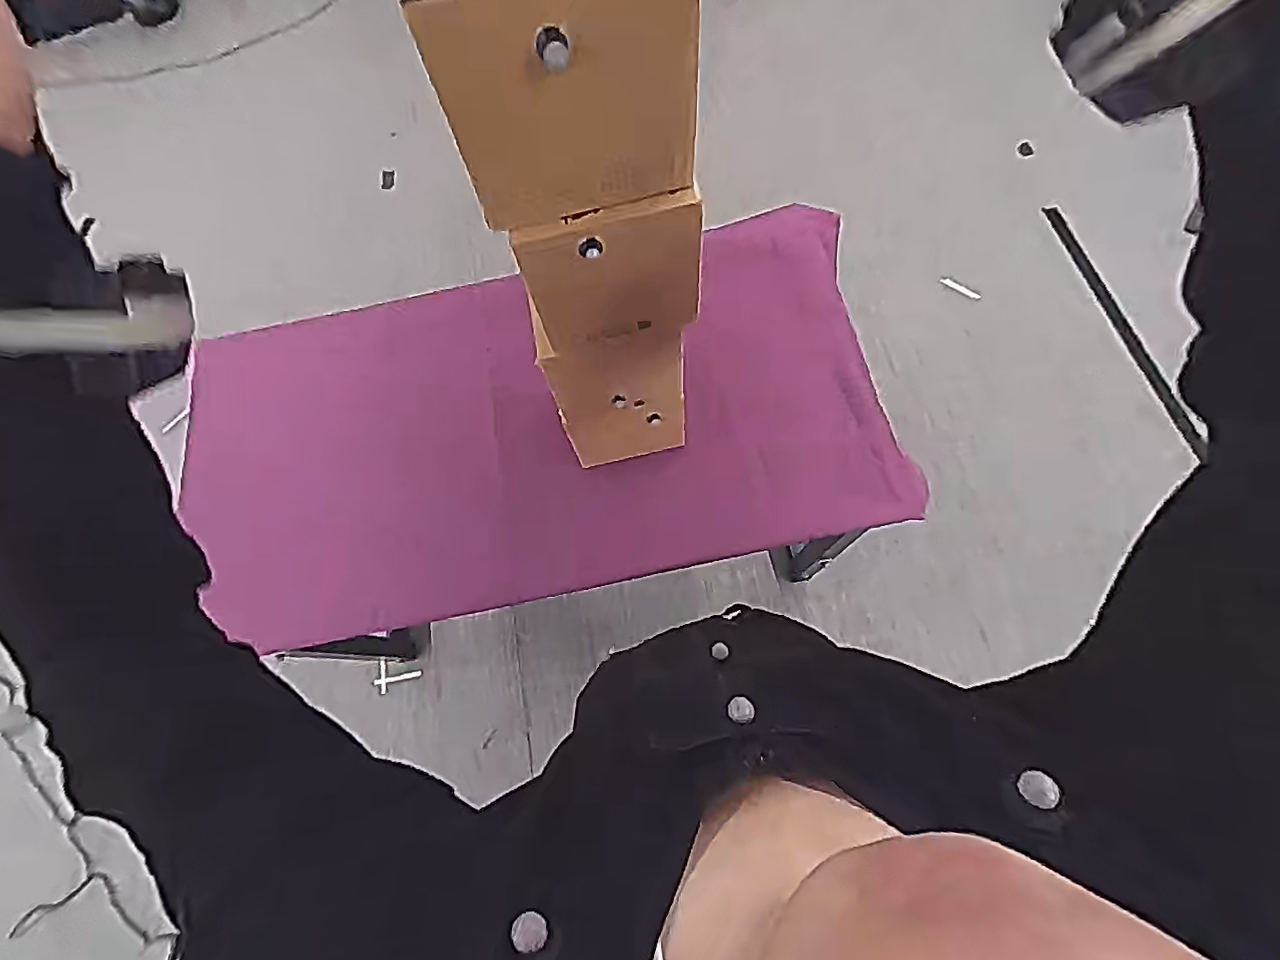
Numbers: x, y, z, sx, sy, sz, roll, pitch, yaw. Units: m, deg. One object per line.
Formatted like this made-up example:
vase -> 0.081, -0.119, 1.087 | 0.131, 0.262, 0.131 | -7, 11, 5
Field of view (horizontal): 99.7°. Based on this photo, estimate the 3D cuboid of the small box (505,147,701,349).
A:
small box -> -0.041, -0.264, 0.547 | 0.168, 0.176, 0.179 | -13, 69, 0

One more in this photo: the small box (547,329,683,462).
small box -> -0.034, -0.146, 0.852 | 0.179, 0.176, 0.168 | -13, 69, 1

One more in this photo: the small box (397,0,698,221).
small box -> -0.062, -0.329, 0.399 | 0.179, 0.176, 0.168 | -14, 69, 0
